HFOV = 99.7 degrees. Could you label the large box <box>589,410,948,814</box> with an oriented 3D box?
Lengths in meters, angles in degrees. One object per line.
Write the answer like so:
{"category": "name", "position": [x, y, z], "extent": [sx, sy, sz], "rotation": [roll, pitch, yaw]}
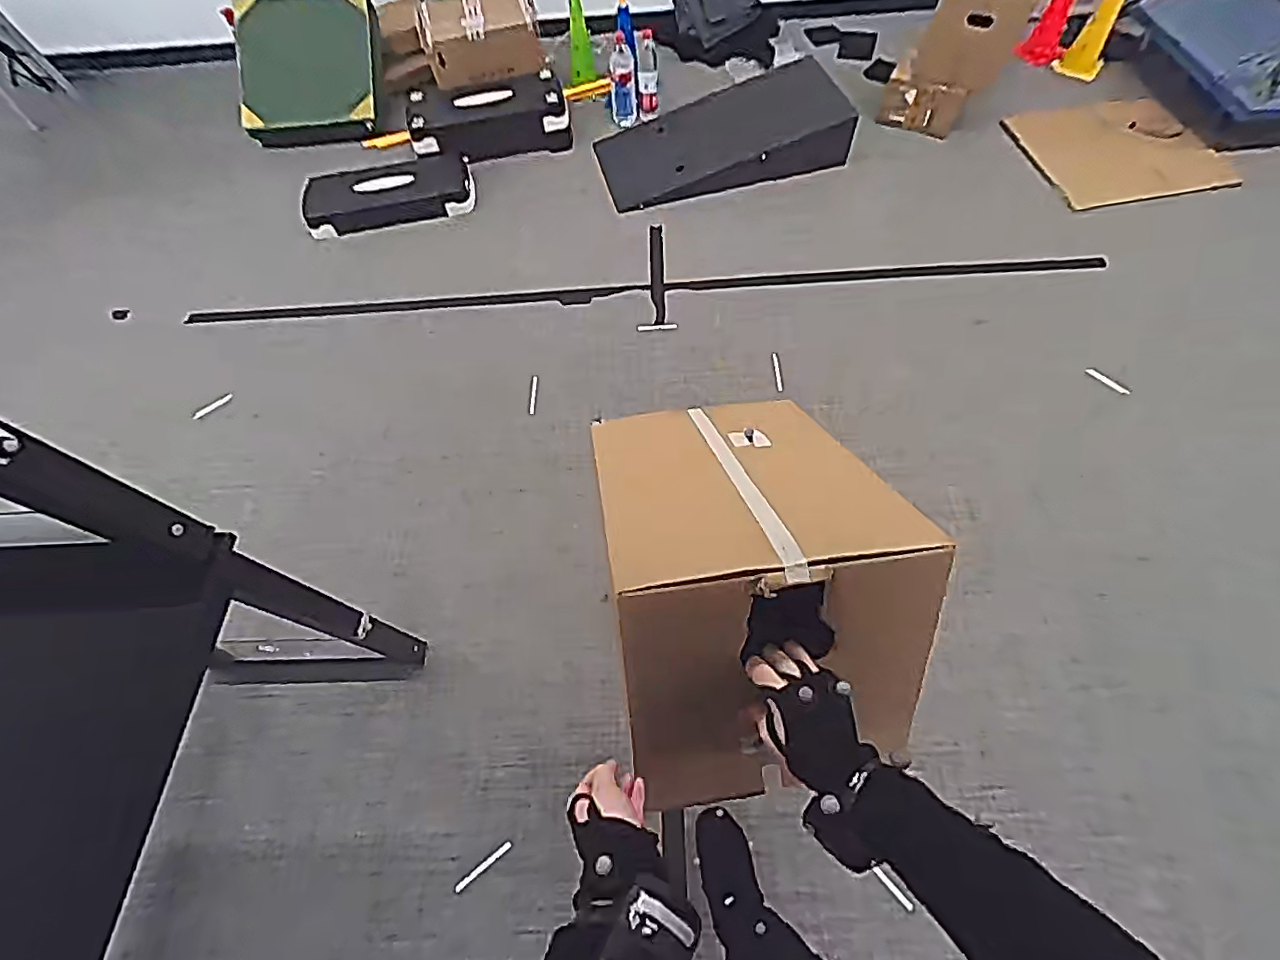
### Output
{"category": "large box", "position": [0.114, 0.130, 0.709], "extent": [0.320, 0.320, 0.408], "rotation": [-6, 26, -5]}
